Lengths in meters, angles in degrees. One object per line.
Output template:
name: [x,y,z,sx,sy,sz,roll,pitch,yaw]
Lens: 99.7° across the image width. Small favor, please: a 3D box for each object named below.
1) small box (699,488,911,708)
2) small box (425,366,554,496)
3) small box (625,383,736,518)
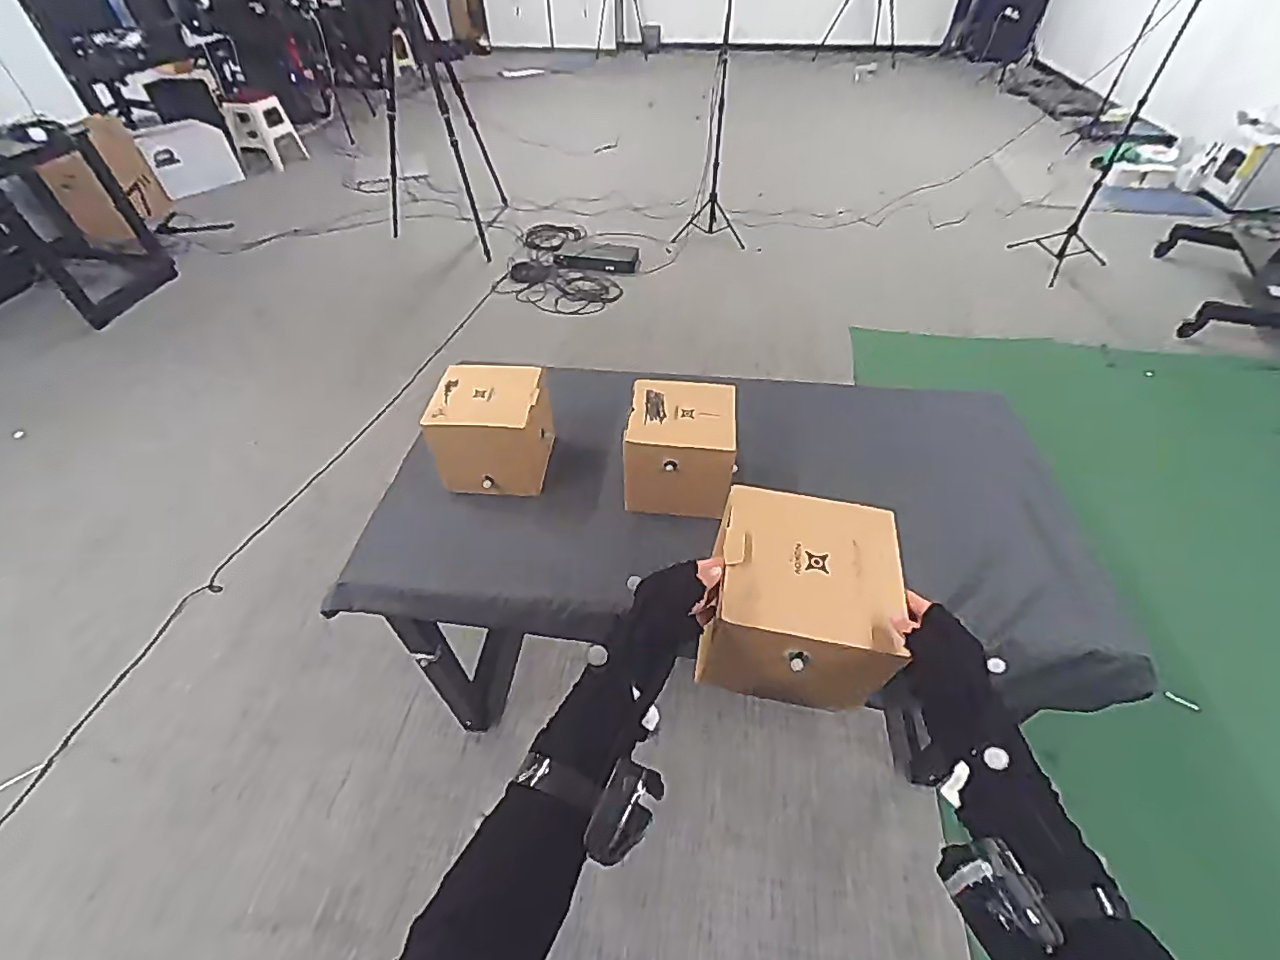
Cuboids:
small box: [0.167,0.135,0.599,0.179,0.176,0.168,10,51,3]
small box: [-0.259,-0.085,0.983,0.179,0.176,0.168,3,47,2]
small box: [0.072,-0.050,0.949,0.179,0.176,0.168,5,47,4]
